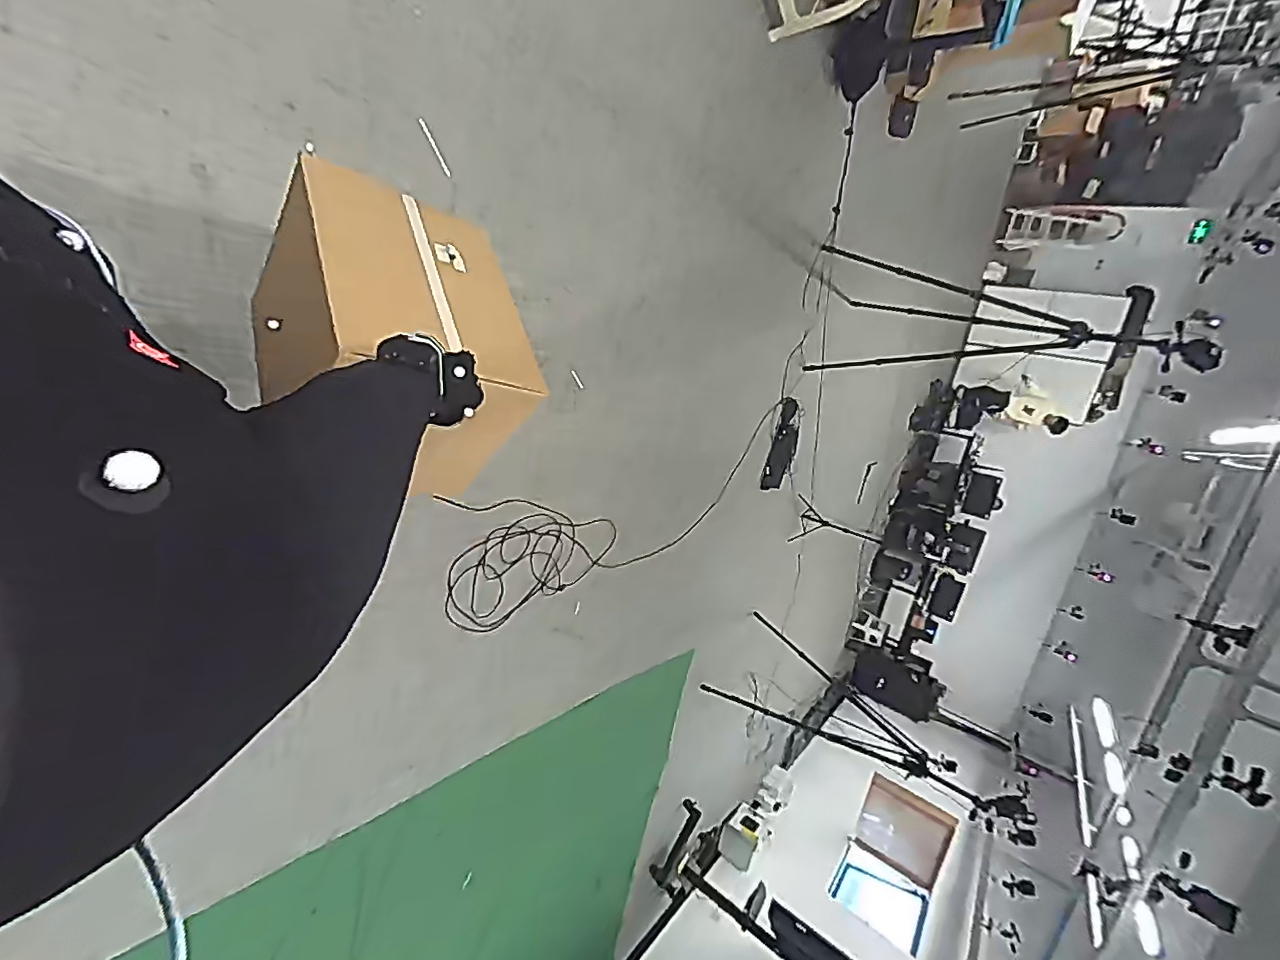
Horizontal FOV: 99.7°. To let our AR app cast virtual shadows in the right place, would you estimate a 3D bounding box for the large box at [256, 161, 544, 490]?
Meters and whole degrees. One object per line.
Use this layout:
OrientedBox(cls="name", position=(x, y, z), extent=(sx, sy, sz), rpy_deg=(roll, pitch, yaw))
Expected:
OrientedBox(cls="large box", position=(-0.426, -0.228, 0.926), extent=(0.320, 0.408, 0.320), rpy_deg=(5, 142, -48))
